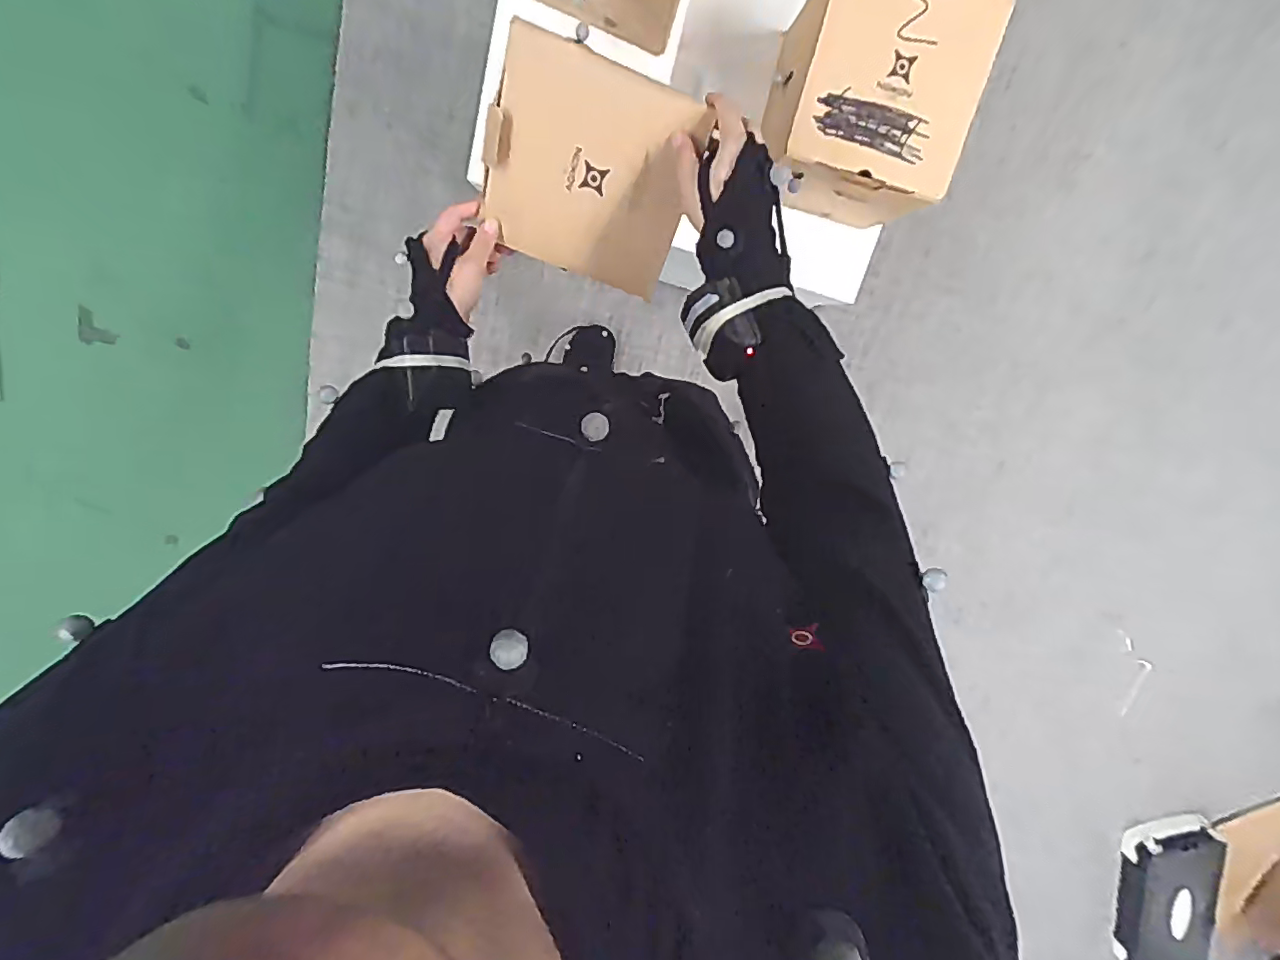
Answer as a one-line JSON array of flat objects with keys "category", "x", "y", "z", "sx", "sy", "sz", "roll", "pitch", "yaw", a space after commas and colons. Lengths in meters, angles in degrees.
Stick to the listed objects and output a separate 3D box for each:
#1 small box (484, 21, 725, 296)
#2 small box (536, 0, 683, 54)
[{"category": "small box", "x": -0.035, "y": -0.310, "z": 0.534, "sx": 0.179, "sy": 0.176, "sz": 0.168, "roll": 16, "pitch": 126, "yaw": -9}, {"category": "small box", "x": -0.014, "y": -0.555, "z": 0.500, "sx": 0.168, "sy": 0.176, "sz": 0.179, "roll": 17, "pitch": 106, "yaw": -10}]
